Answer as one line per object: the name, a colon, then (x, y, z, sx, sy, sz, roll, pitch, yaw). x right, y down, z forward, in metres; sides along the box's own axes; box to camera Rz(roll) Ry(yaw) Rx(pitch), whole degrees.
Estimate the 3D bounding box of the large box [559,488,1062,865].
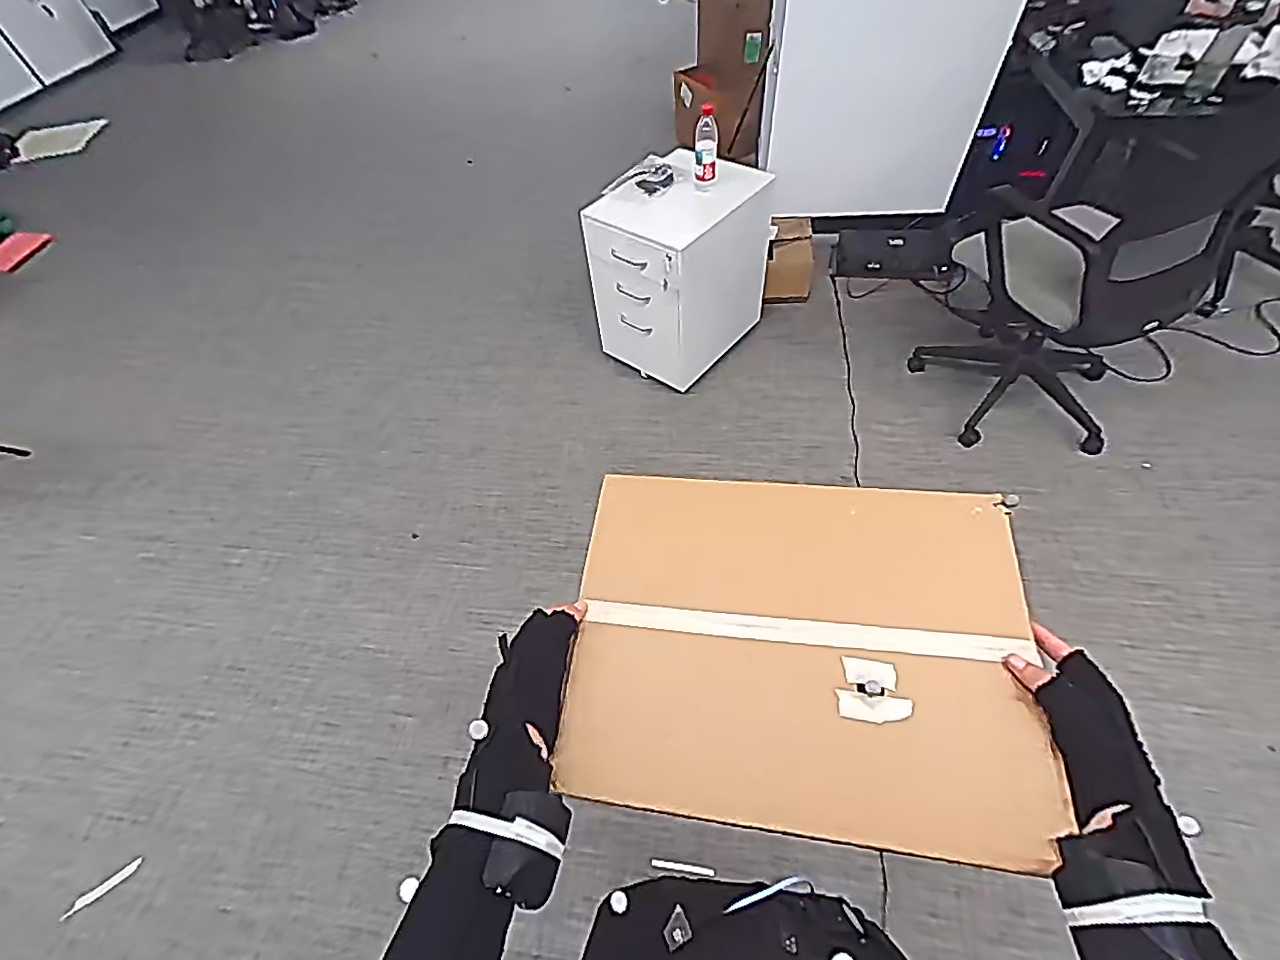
large box: (0.159, 0.224, 0.635, 0.408, 0.320, 0.320, 3, 60, 11)
